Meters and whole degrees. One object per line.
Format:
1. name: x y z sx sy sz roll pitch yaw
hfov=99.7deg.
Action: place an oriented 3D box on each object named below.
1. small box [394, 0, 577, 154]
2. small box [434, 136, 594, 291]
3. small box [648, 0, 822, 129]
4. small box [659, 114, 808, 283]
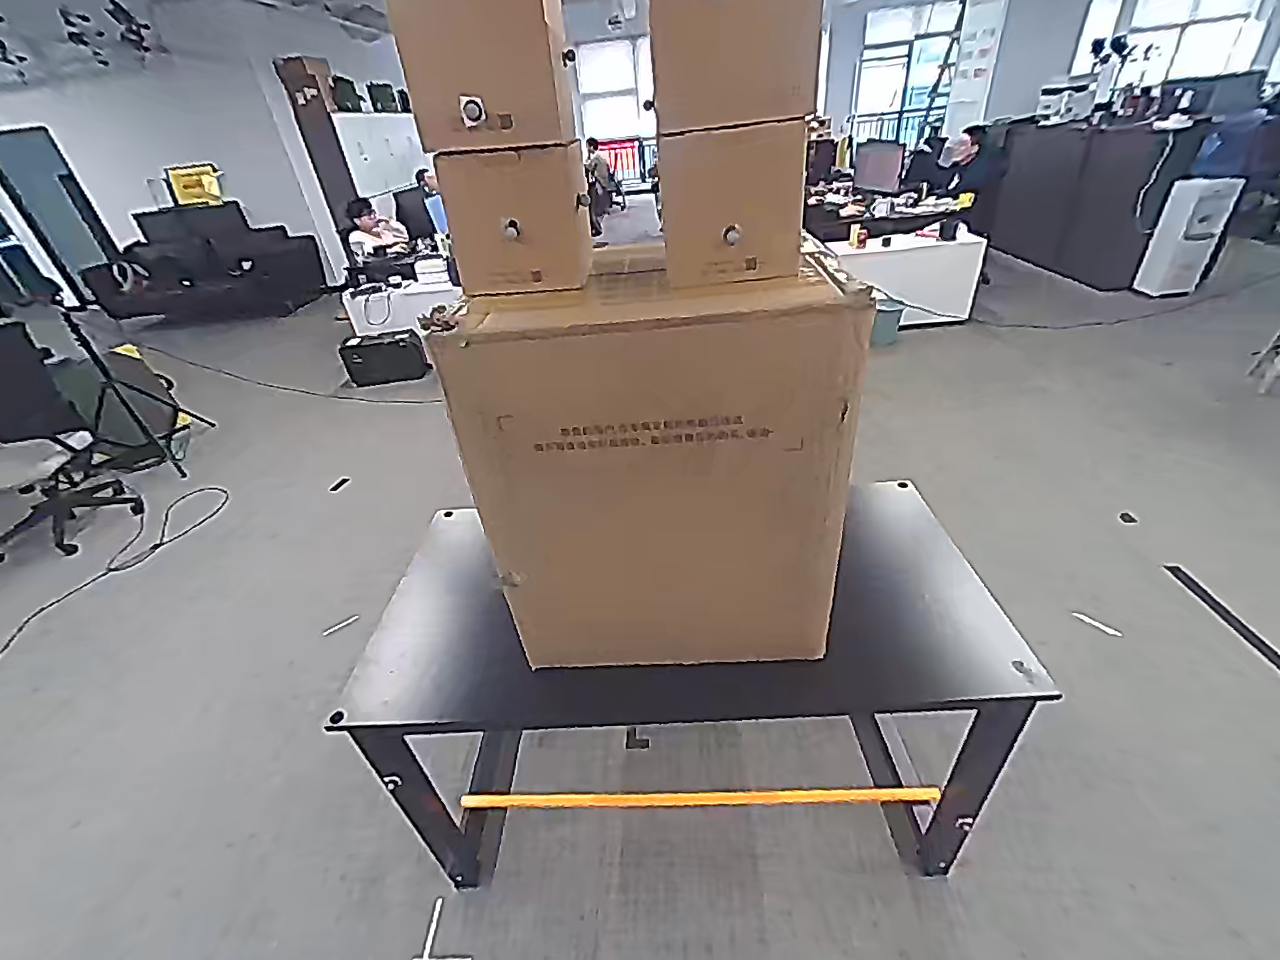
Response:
1. small box: -0.172 -0.494 0.647 0.168 0.176 0.179 -5 34 2
2. small box: -0.158 -0.366 0.749 0.168 0.176 0.179 -3 34 2
3. small box: 0.101 -0.499 0.607 0.179 0.176 0.168 -4 34 4
4. small box: 0.113 -0.366 0.704 0.168 0.176 0.179 -5 34 5
